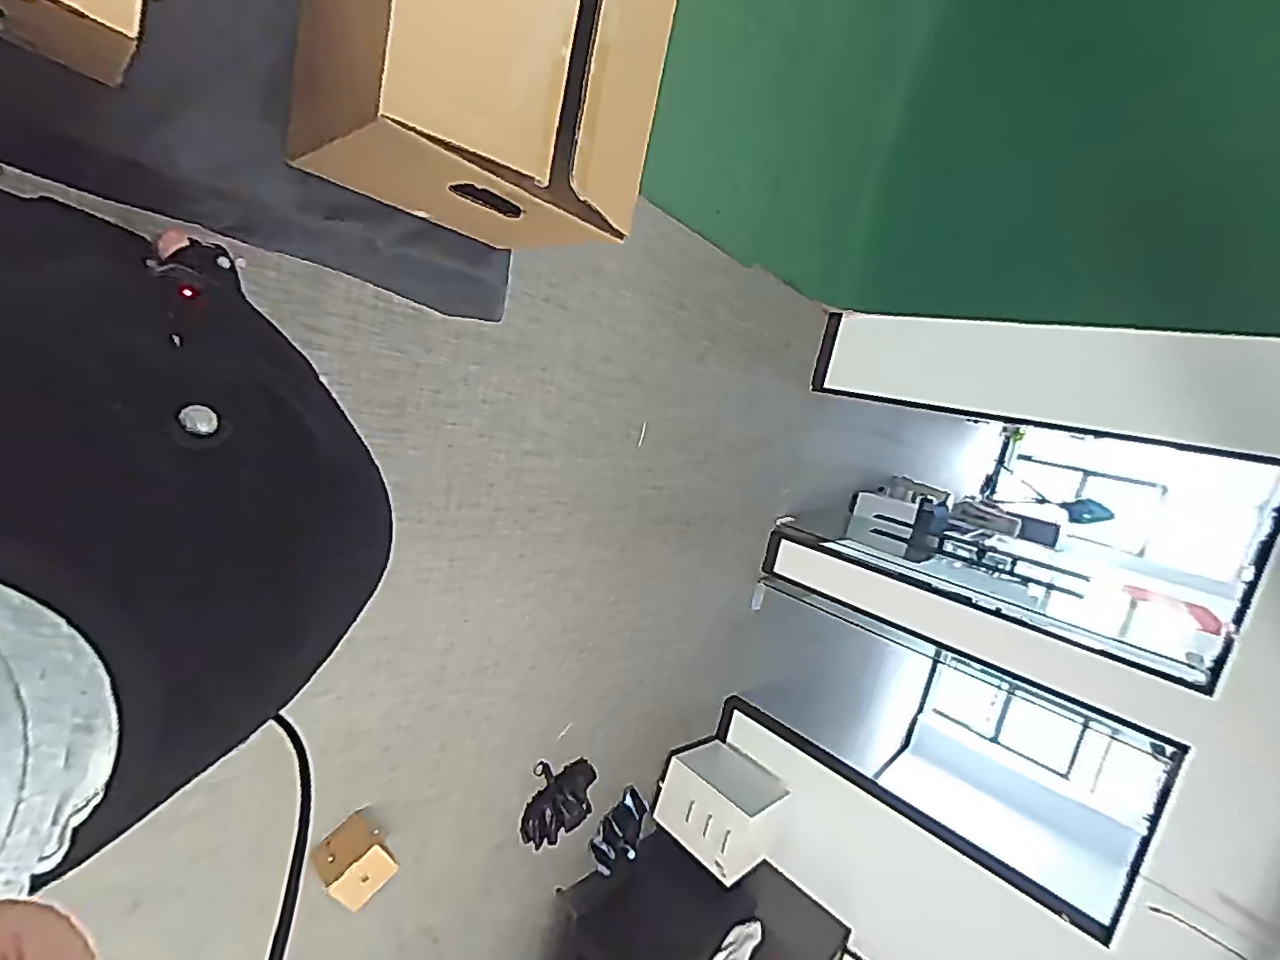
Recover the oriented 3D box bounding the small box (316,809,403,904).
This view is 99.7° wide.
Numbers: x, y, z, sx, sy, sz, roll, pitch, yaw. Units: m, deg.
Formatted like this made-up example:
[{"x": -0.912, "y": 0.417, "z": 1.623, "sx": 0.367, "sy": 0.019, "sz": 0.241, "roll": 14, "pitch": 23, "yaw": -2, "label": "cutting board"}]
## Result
[{"x": -0.928, "y": 1.233, "z": 1.784, "sx": 0.168, "sy": 0.176, "sz": 0.179, "roll": -39, "pitch": 132, "yaw": -31, "label": "small box"}]
